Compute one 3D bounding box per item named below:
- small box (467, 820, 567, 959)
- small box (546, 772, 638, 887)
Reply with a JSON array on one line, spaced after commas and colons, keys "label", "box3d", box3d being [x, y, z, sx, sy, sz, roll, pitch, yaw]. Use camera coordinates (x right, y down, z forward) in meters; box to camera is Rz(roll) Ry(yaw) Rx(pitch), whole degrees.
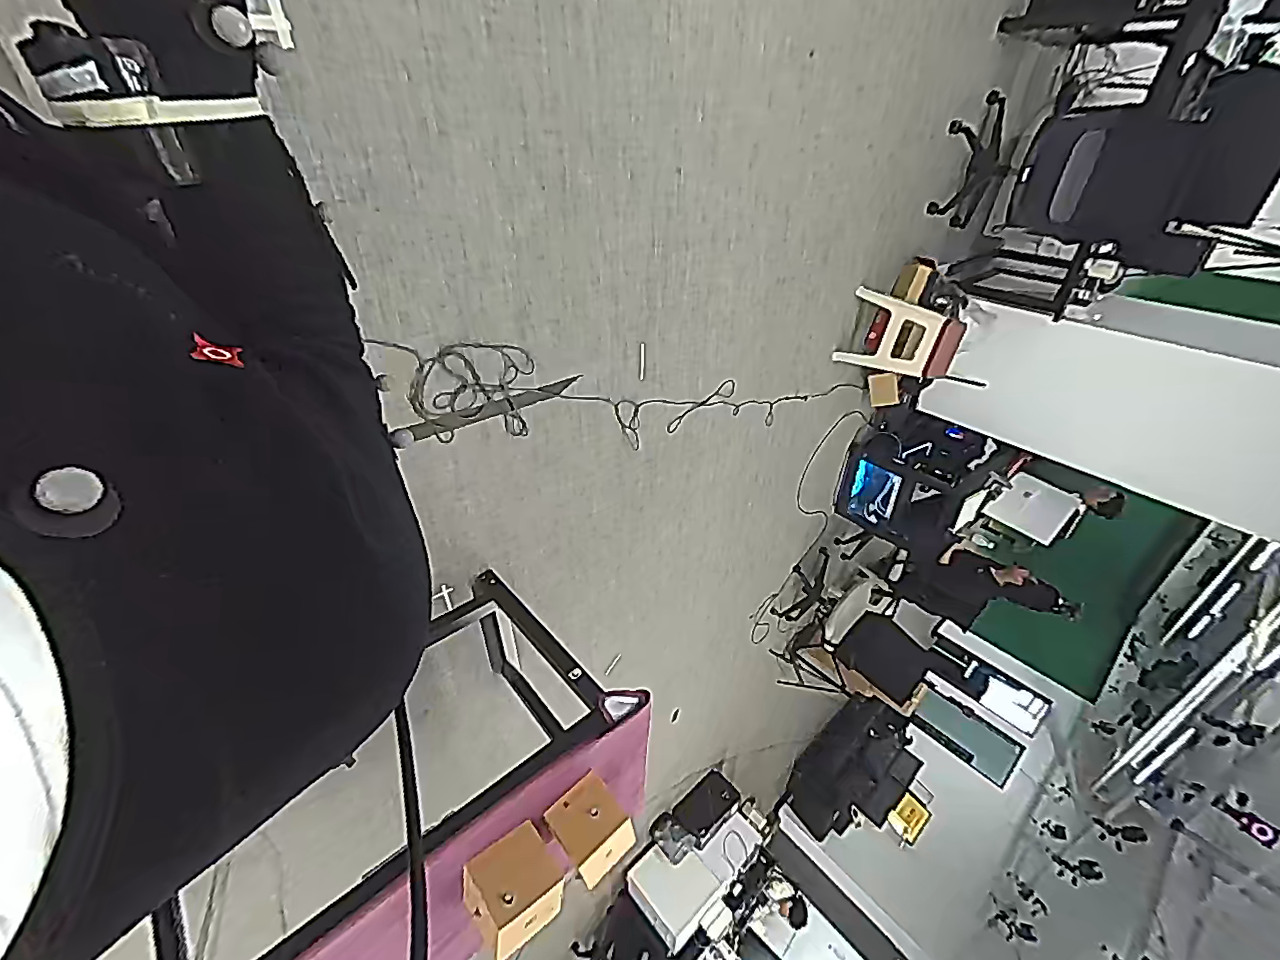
[{"label": "small box", "box3d": [-0.299, 0.967, 1.286, 0.179, 0.176, 0.168, -17, 128, -40]}, {"label": "small box", "box3d": [-0.128, 0.918, 1.436, 0.168, 0.176, 0.179, -33, 136, -28]}]
